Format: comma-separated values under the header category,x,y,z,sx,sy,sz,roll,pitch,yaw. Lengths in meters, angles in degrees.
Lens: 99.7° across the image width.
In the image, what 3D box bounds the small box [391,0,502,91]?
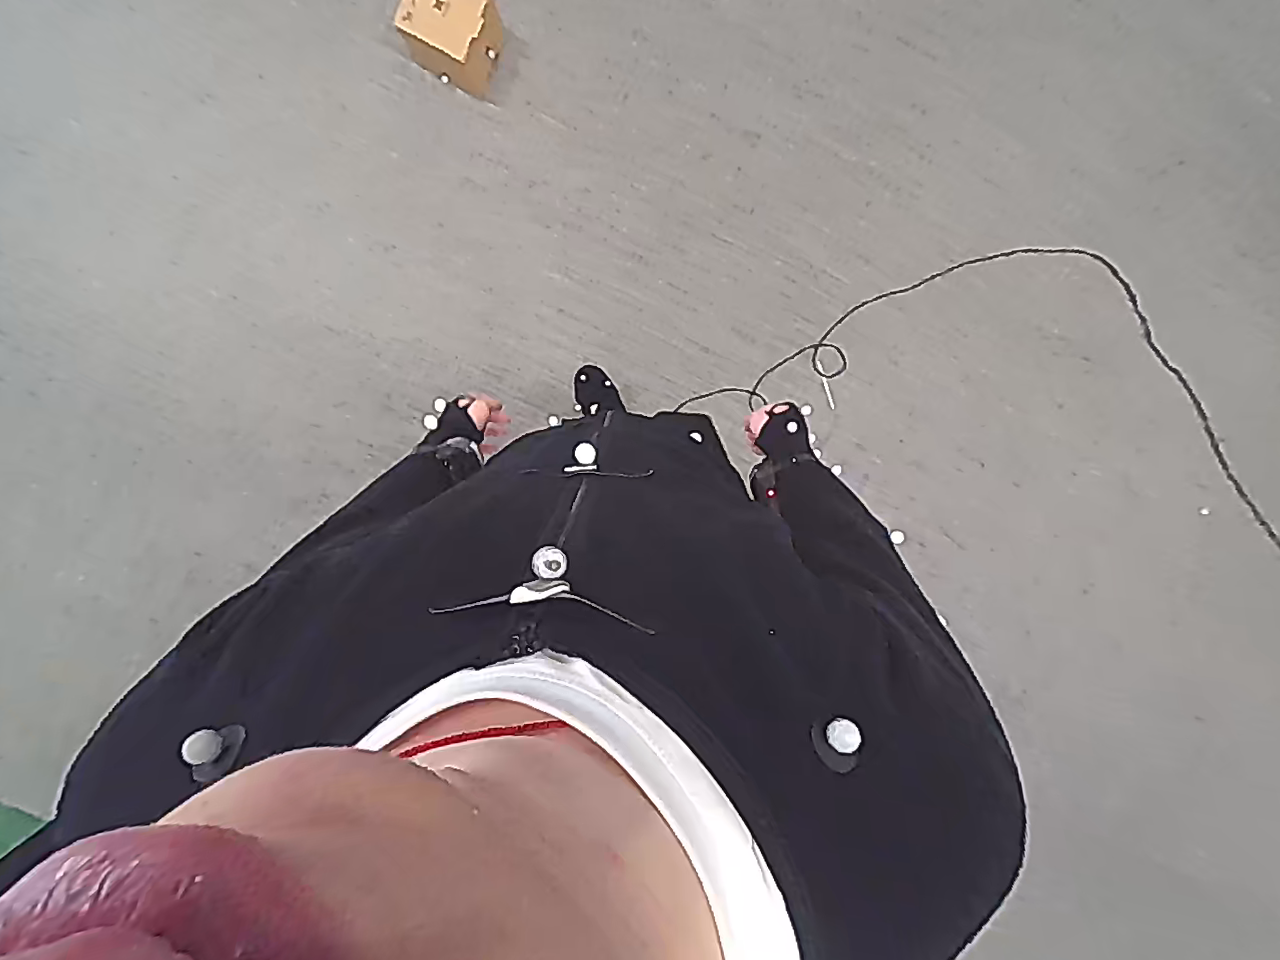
category,x,y,z,sx,sy,sz,roll,pitch,yaw
small box,-0.450,-1.080,1.291,0.179,0.176,0.168,26,97,-5
